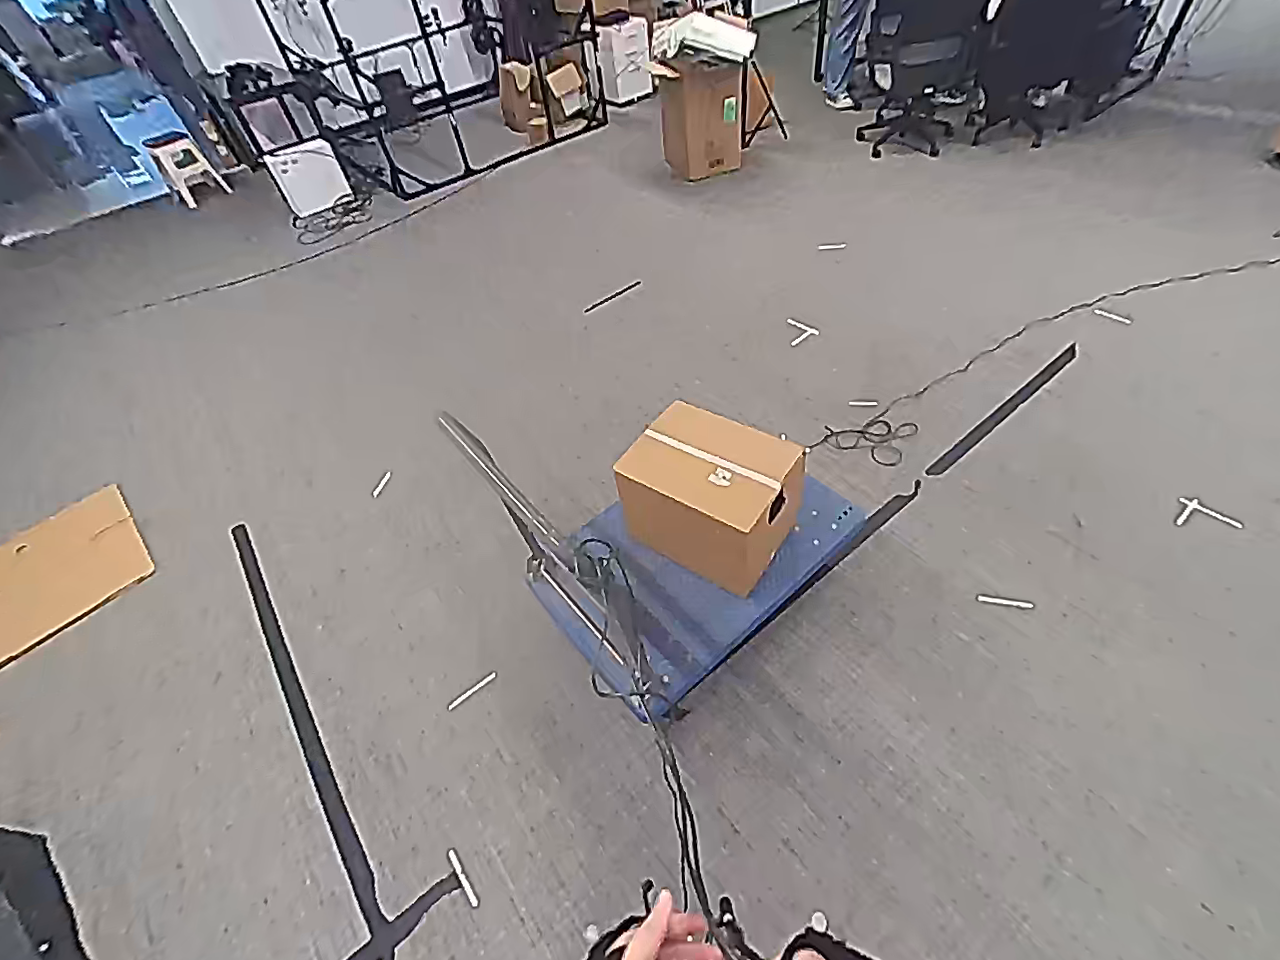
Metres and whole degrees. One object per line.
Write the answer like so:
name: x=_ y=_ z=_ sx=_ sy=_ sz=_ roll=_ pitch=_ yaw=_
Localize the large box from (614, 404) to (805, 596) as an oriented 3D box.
large box: x=0.189 y=0.048 z=1.502 sx=0.408 sy=0.320 sz=0.320 roll=25 pitch=58 yaw=27
